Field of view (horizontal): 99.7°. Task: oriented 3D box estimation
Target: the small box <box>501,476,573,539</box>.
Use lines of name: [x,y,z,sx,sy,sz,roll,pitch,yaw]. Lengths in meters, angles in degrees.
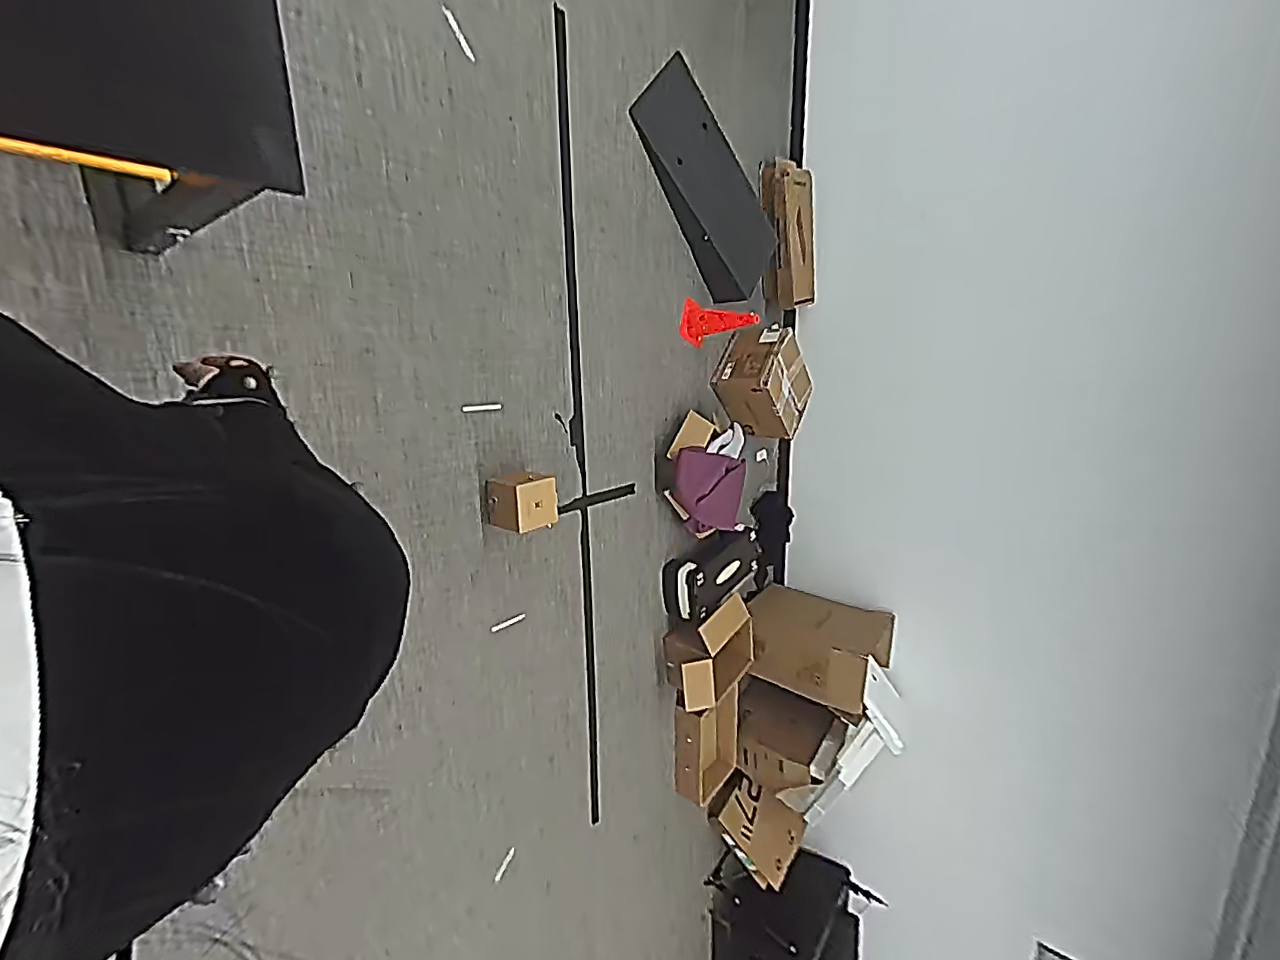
small box: [-0.352,0.088,1.853,0.179,0.176,0.168,-17,110,-49]
